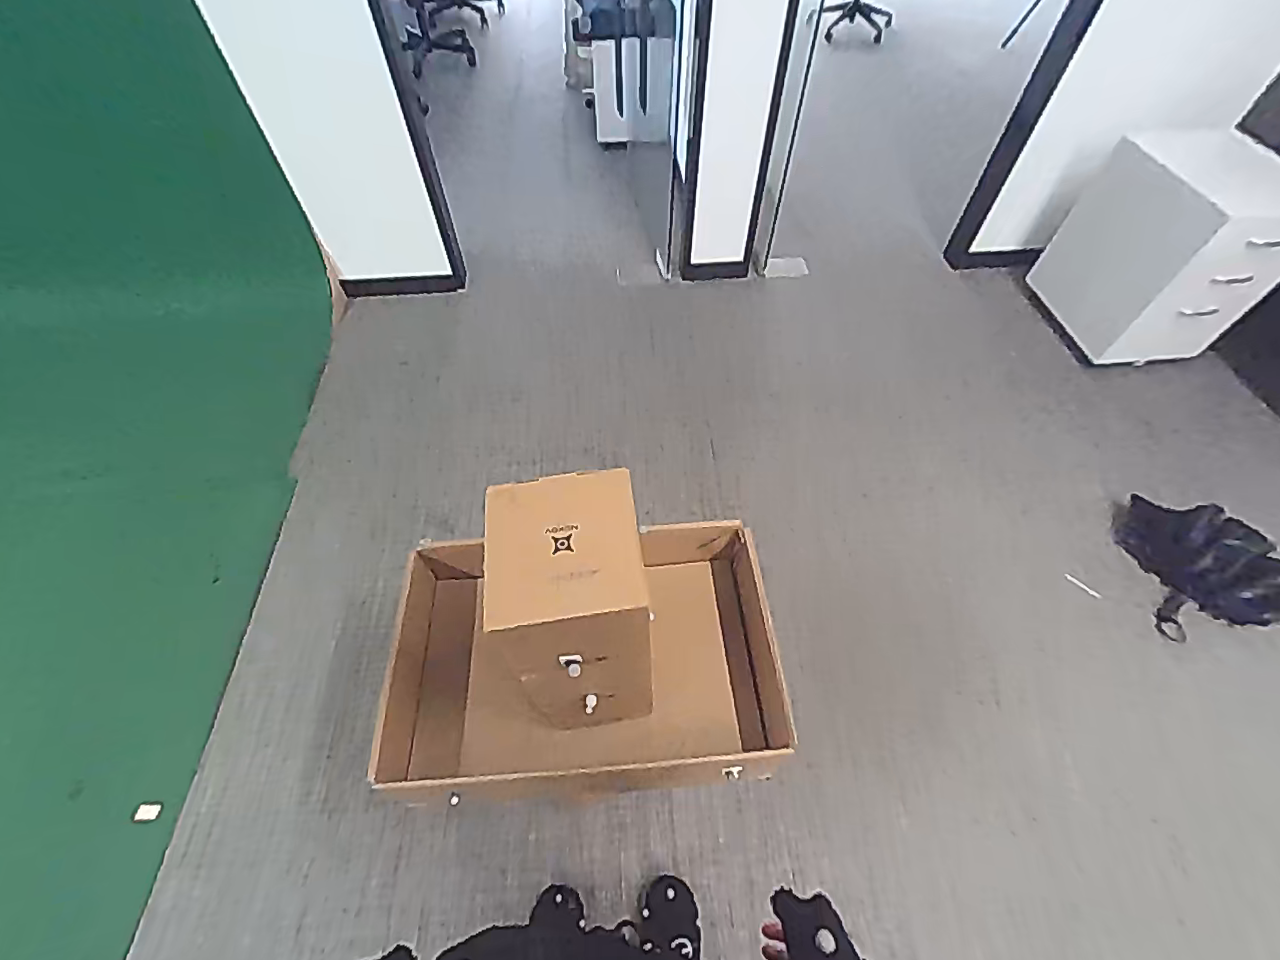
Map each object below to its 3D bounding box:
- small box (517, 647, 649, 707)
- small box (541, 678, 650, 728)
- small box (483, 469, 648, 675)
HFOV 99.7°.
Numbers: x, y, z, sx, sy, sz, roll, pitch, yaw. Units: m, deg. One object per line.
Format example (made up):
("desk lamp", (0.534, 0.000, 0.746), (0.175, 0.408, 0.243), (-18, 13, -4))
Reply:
("small box", (-0.081, 0.207, 0.780), (0.168, 0.176, 0.179), (-8, 55, -4))
("small box", (-0.077, 0.299, 0.915), (0.168, 0.176, 0.179), (-9, 54, -3))
("small box", (-0.084, 0.113, 0.648), (0.168, 0.176, 0.179), (-9, 55, -4))
